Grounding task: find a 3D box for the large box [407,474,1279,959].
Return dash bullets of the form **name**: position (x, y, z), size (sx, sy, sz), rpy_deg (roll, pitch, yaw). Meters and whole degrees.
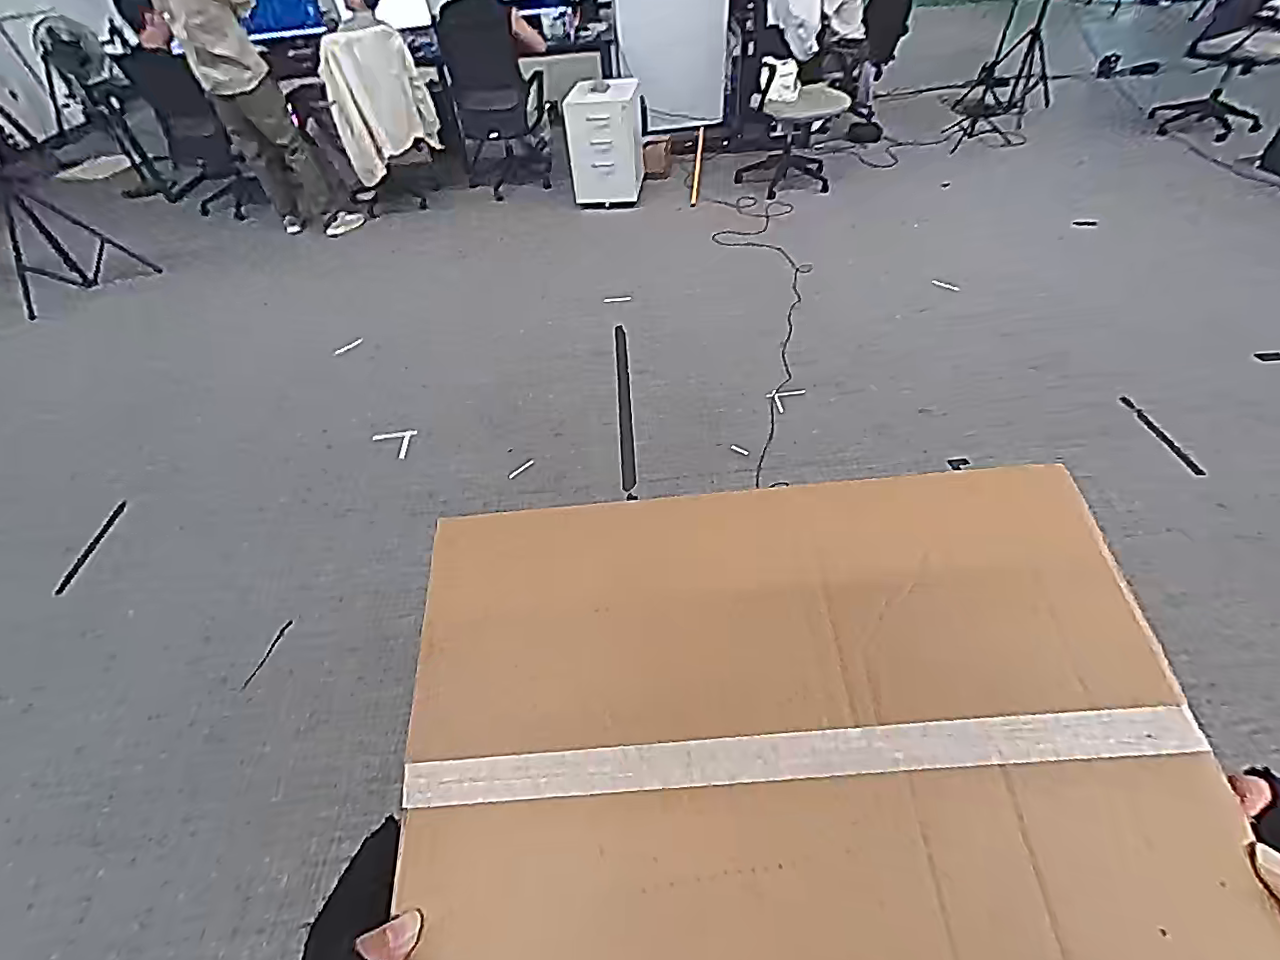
- **large box**: position (0.090, 0.221, 0.419), size (0.408, 0.320, 0.320), rpy_deg (-5, 62, 3)
